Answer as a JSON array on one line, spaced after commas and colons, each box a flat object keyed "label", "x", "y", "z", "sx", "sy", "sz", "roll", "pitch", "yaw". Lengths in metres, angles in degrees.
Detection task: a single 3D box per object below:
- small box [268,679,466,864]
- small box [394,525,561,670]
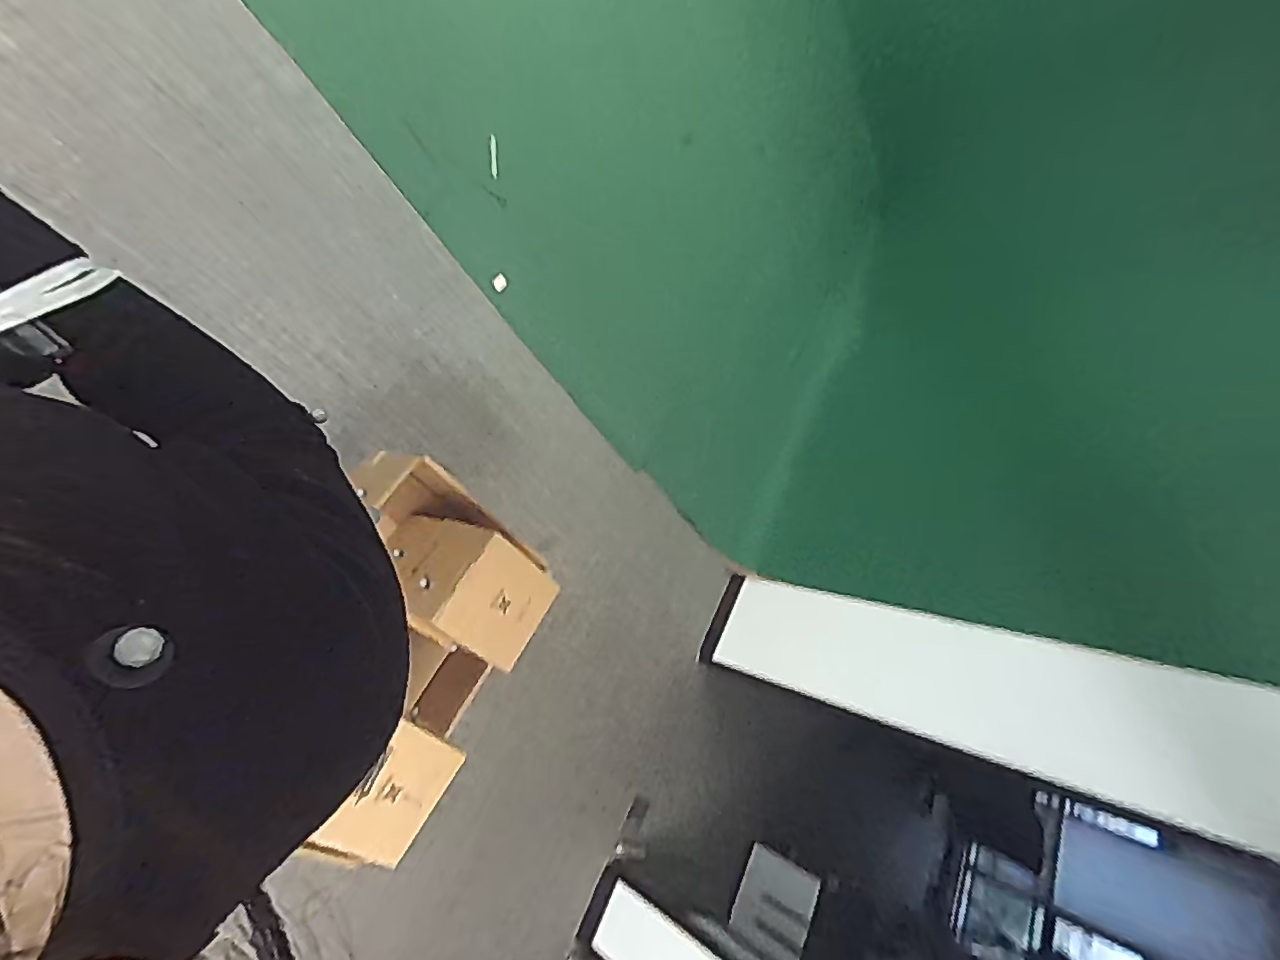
[{"label": "small box", "x": -0.407, "y": 0.421, "z": 0.806, "sx": 0.168, "sy": 0.176, "sz": 0.179, "roll": -56, "pitch": 130, "yaw": -26}, {"label": "small box", "x": -0.276, "y": 0.191, "z": 0.918, "sx": 0.179, "sy": 0.176, "sz": 0.168, "roll": 52, "pitch": 59, "yaw": -36}]
